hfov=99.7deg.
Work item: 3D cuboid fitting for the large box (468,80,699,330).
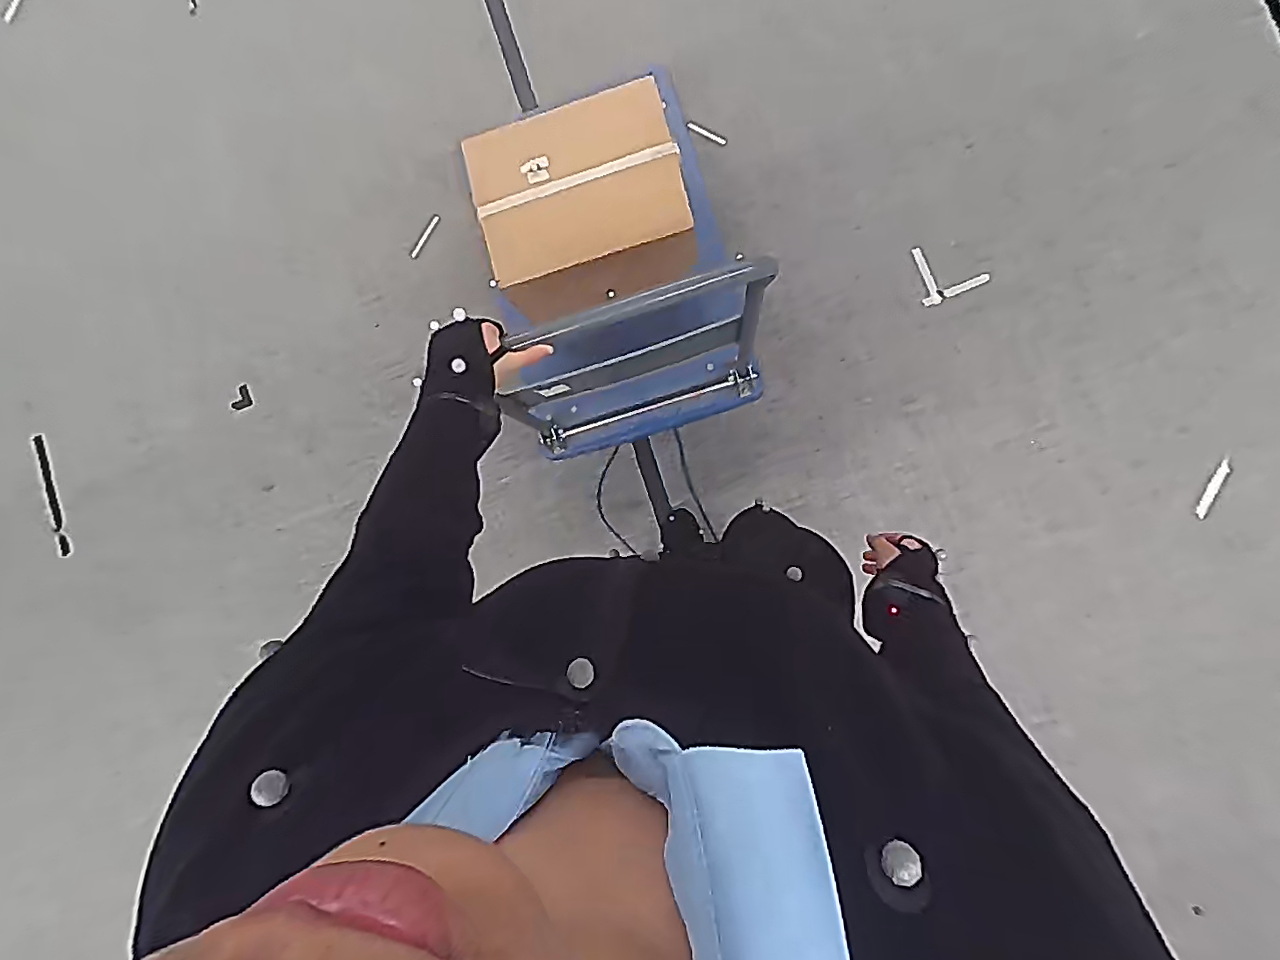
[{"bbox_3d":[-0.102,-0.578,1.213,0.408,0.320,0.320,-15,86,8],"label":"large box"}]
